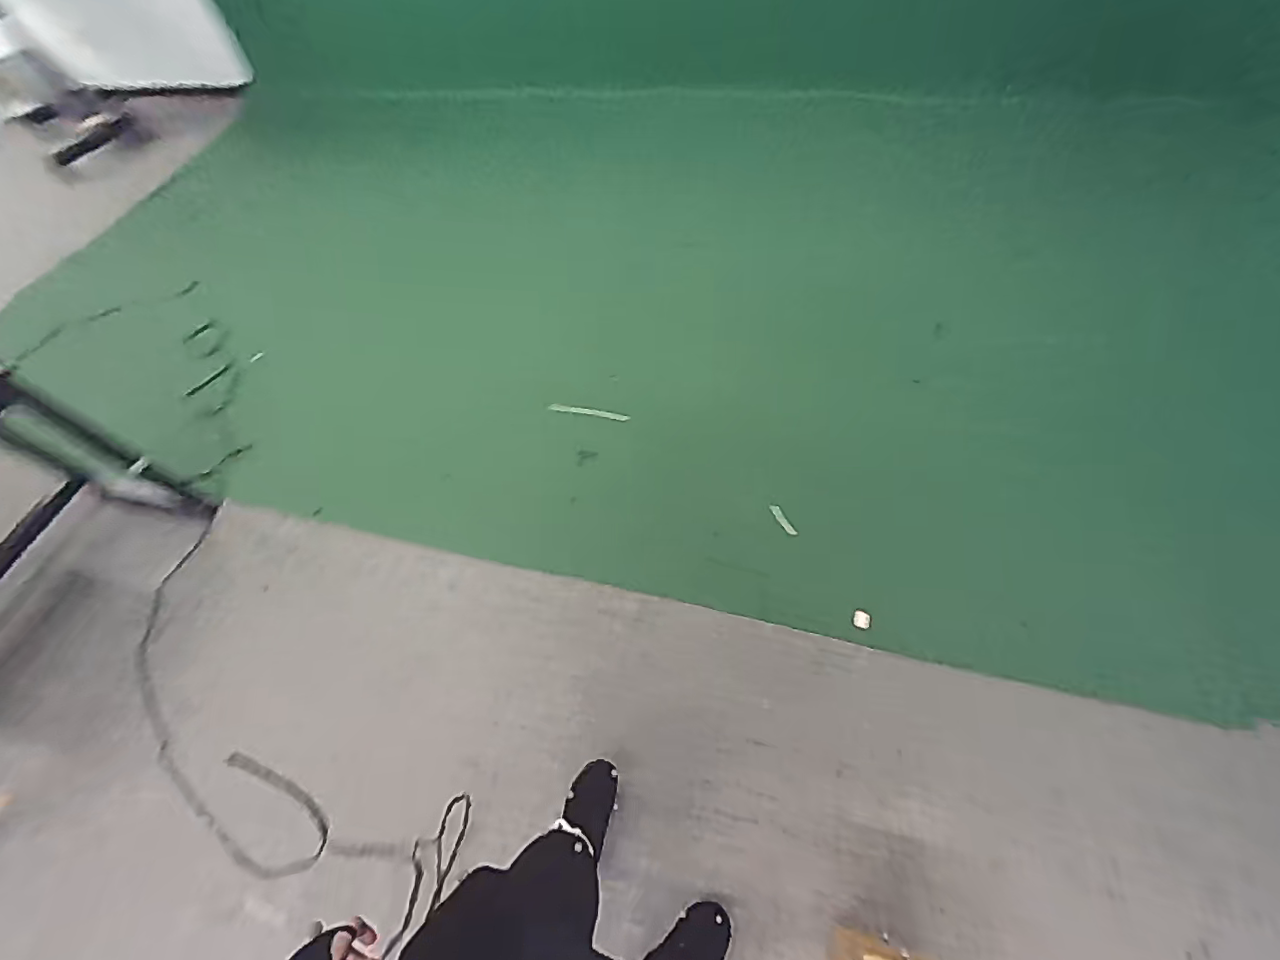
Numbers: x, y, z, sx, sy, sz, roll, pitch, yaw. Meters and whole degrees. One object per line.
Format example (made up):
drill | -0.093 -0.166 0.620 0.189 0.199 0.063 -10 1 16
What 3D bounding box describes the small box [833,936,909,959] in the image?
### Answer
small box | 0.476 1.038 1.063 0.168 0.176 0.179 10 59 14
